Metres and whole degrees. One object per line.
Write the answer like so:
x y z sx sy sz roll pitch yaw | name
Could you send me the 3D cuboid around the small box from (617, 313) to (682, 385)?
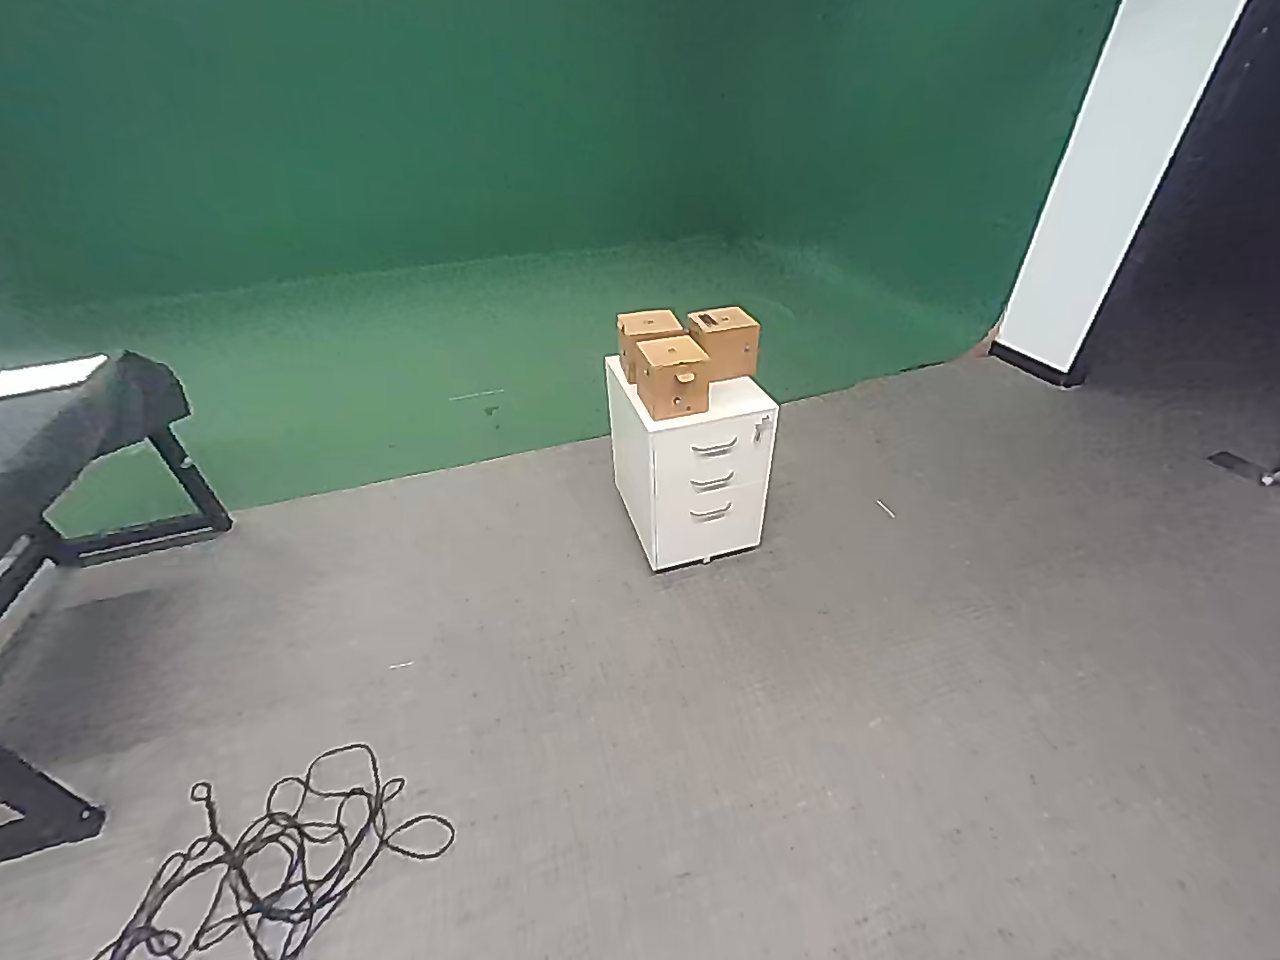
0.028 -0.414 1.720 0.179 0.176 0.168 -8 39 -10 | small box
